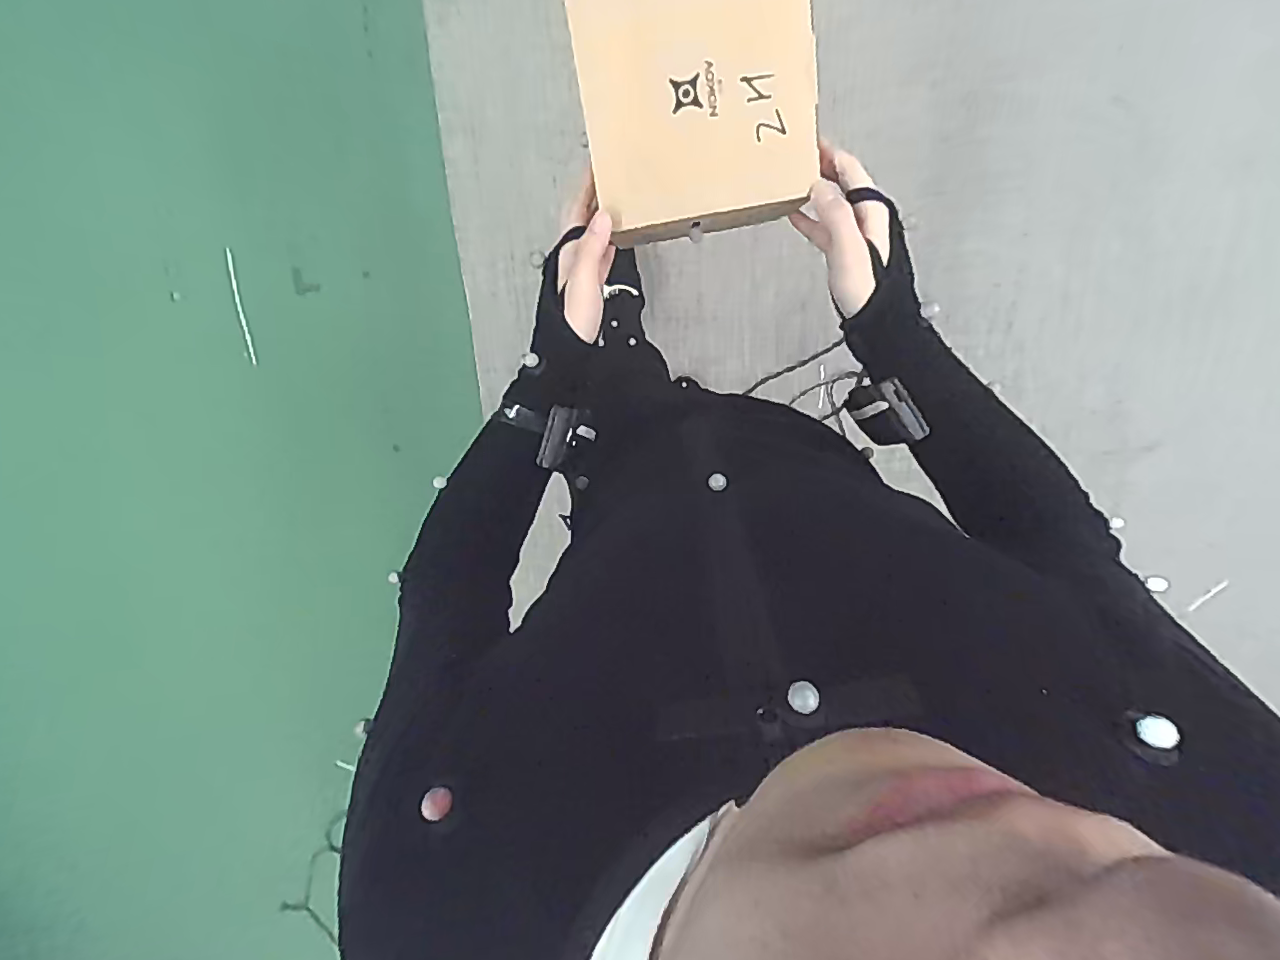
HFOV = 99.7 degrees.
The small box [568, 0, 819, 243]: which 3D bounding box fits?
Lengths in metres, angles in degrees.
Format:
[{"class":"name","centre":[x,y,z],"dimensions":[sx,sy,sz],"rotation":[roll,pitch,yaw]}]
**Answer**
[{"class":"small box","centre":[0.048,-0.314,0.477],"dimensions":[0.179,0.176,0.168],"rotation":[-7,109,5]}]
